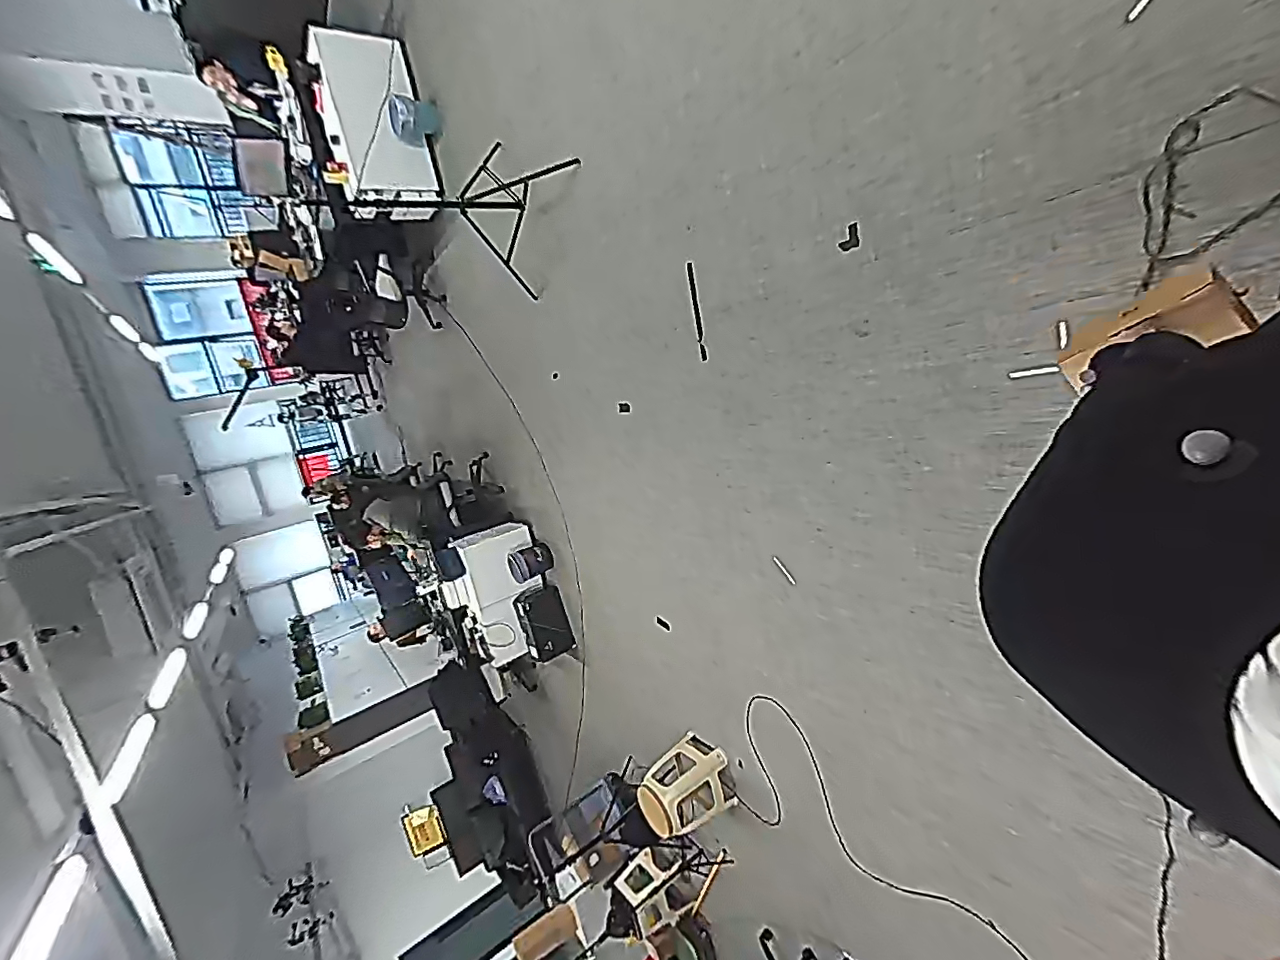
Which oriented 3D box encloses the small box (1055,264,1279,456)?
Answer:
[{"bbox_3d":[0.707,-0.154,0.724,0.176,0.179,0.168,55,141,3],"label":"small box"}]
